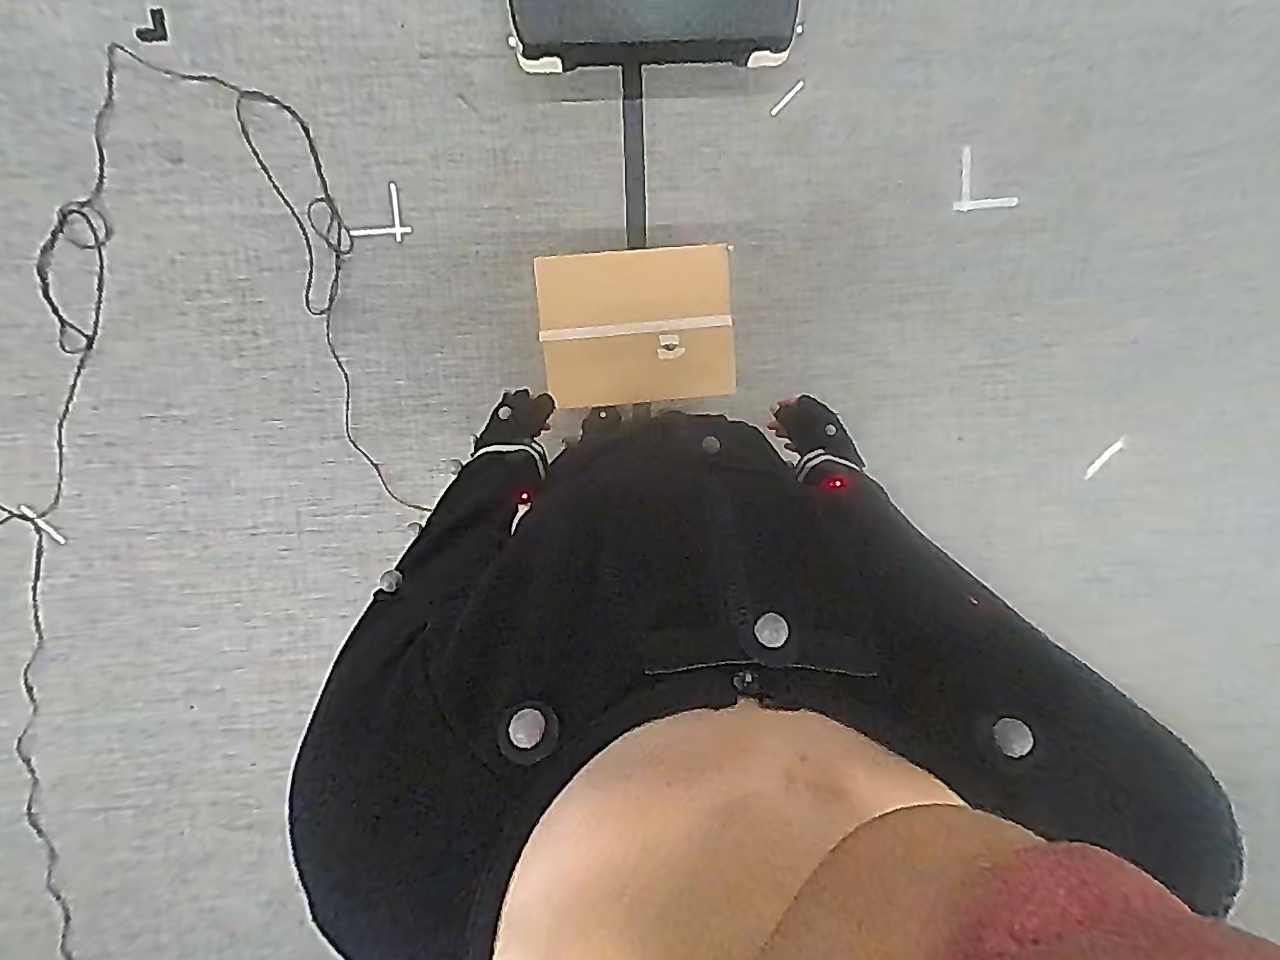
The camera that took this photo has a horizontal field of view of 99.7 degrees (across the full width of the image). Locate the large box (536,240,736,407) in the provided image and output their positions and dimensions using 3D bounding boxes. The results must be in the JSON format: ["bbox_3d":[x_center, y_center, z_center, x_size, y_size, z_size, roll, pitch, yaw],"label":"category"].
[{"bbox_3d":[-0.014,-0.349,1.289,0.408,0.320,0.320,-6,99,-3],"label":"large box"}]
